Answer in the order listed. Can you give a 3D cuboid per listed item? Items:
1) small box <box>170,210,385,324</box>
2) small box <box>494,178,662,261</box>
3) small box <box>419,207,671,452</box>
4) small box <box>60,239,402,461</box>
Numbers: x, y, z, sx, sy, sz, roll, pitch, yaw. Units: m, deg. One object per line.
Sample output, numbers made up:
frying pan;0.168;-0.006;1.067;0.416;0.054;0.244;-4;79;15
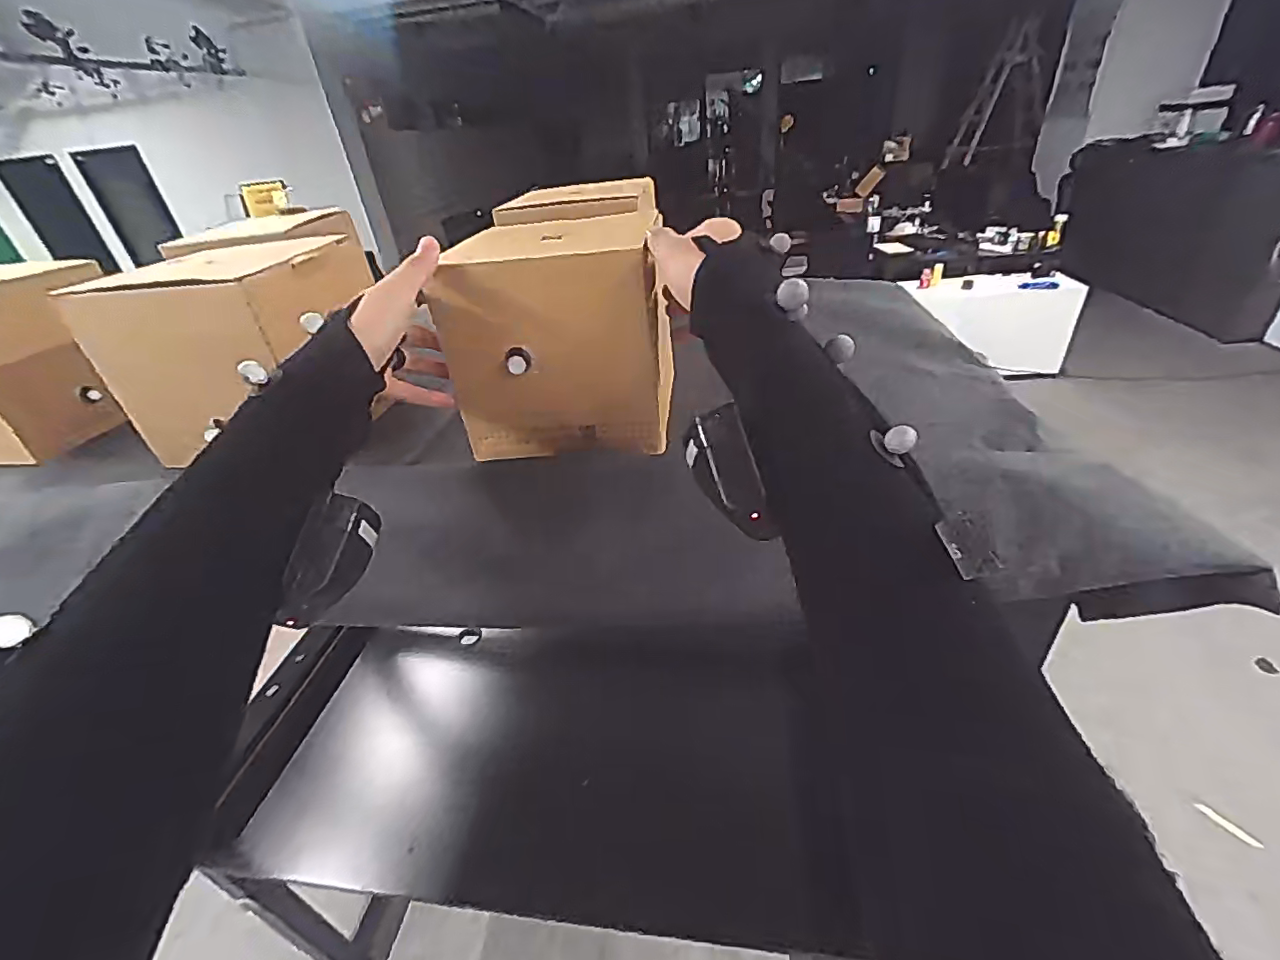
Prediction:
small box;-0.497;-0.279;0.780;0.168;0.176;0.179;-5;34;5
small box;-0.067;-0.295;0.727;0.179;0.176;0.168;0;35;10
small box;-0.062;-0.134;0.487;0.168;0.176;0.179;-2;33;8
small box;-0.368;-0.128;0.533;0.179;0.176;0.168;0;34;8
